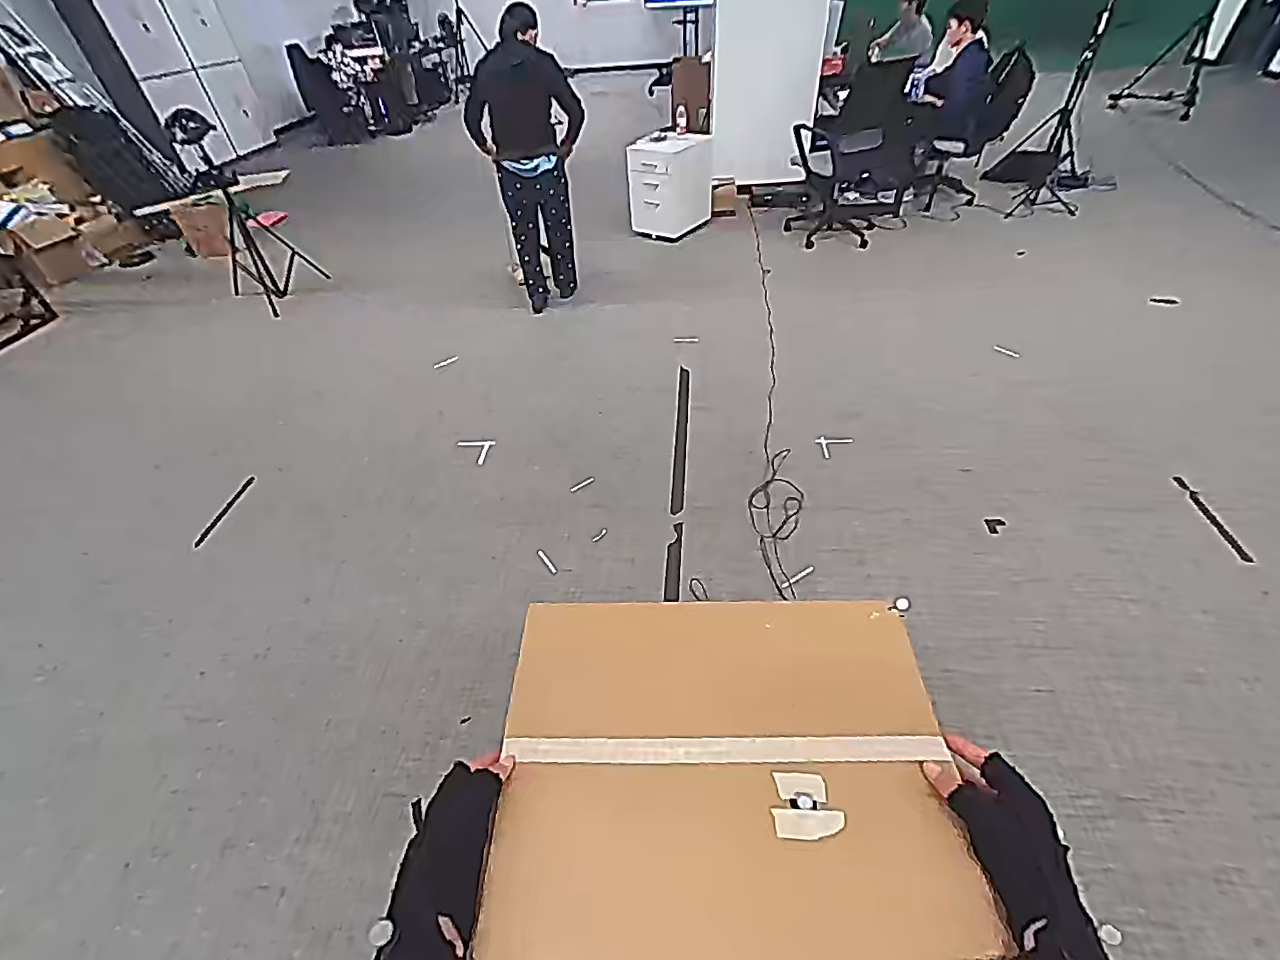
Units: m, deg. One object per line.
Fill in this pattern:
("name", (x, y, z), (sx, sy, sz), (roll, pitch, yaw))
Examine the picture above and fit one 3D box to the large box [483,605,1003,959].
("large box", (0.082, 0.360, 0.617), (0.408, 0.320, 0.320), (-1, 47, 3))
